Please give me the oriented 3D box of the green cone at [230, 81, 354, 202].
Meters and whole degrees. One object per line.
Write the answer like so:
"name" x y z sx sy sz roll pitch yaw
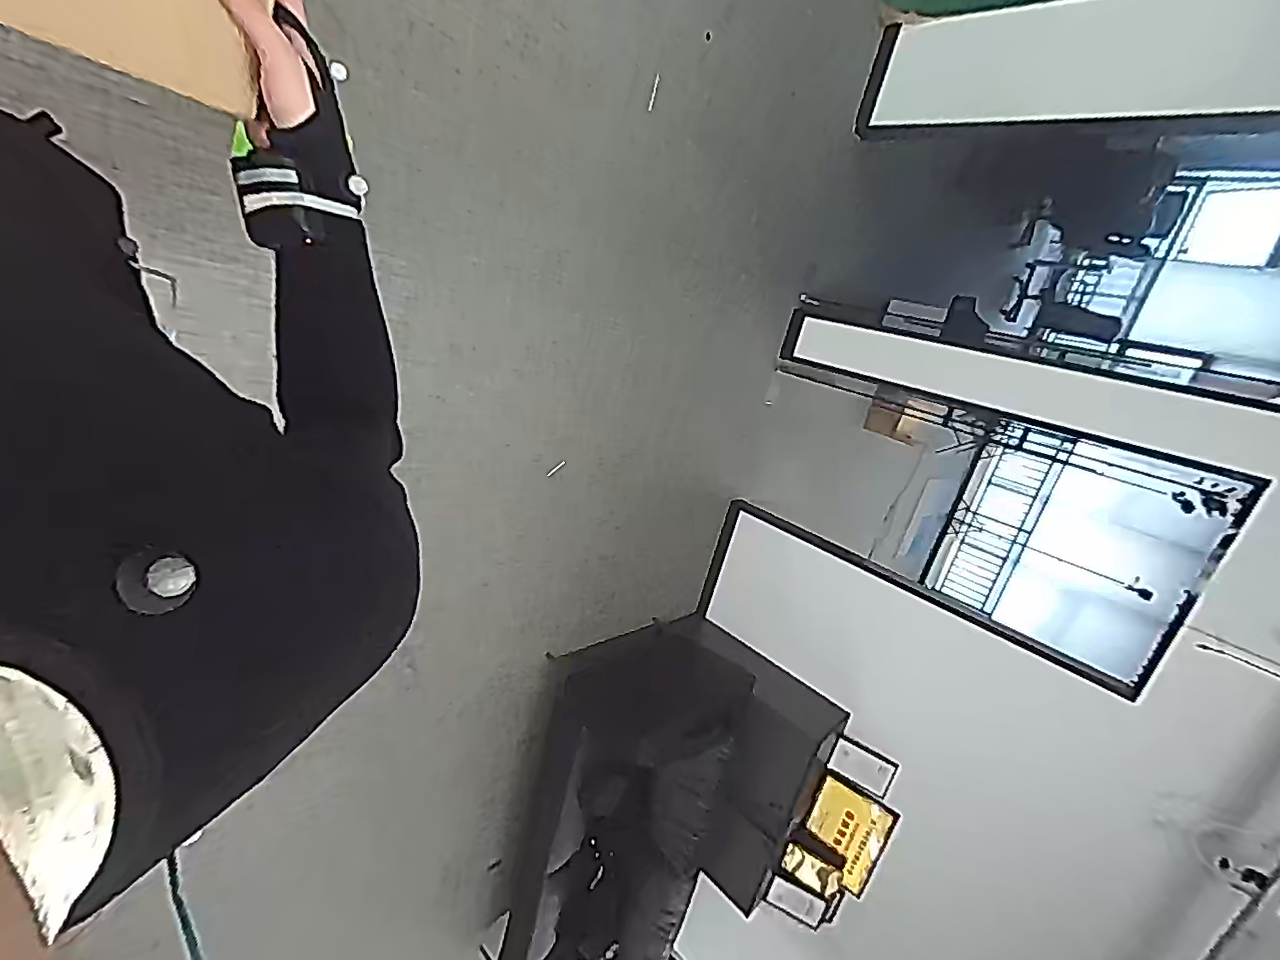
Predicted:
"green cone" -0.694 -0.721 1.145 0.200 0.368 0.202 4 107 -51
